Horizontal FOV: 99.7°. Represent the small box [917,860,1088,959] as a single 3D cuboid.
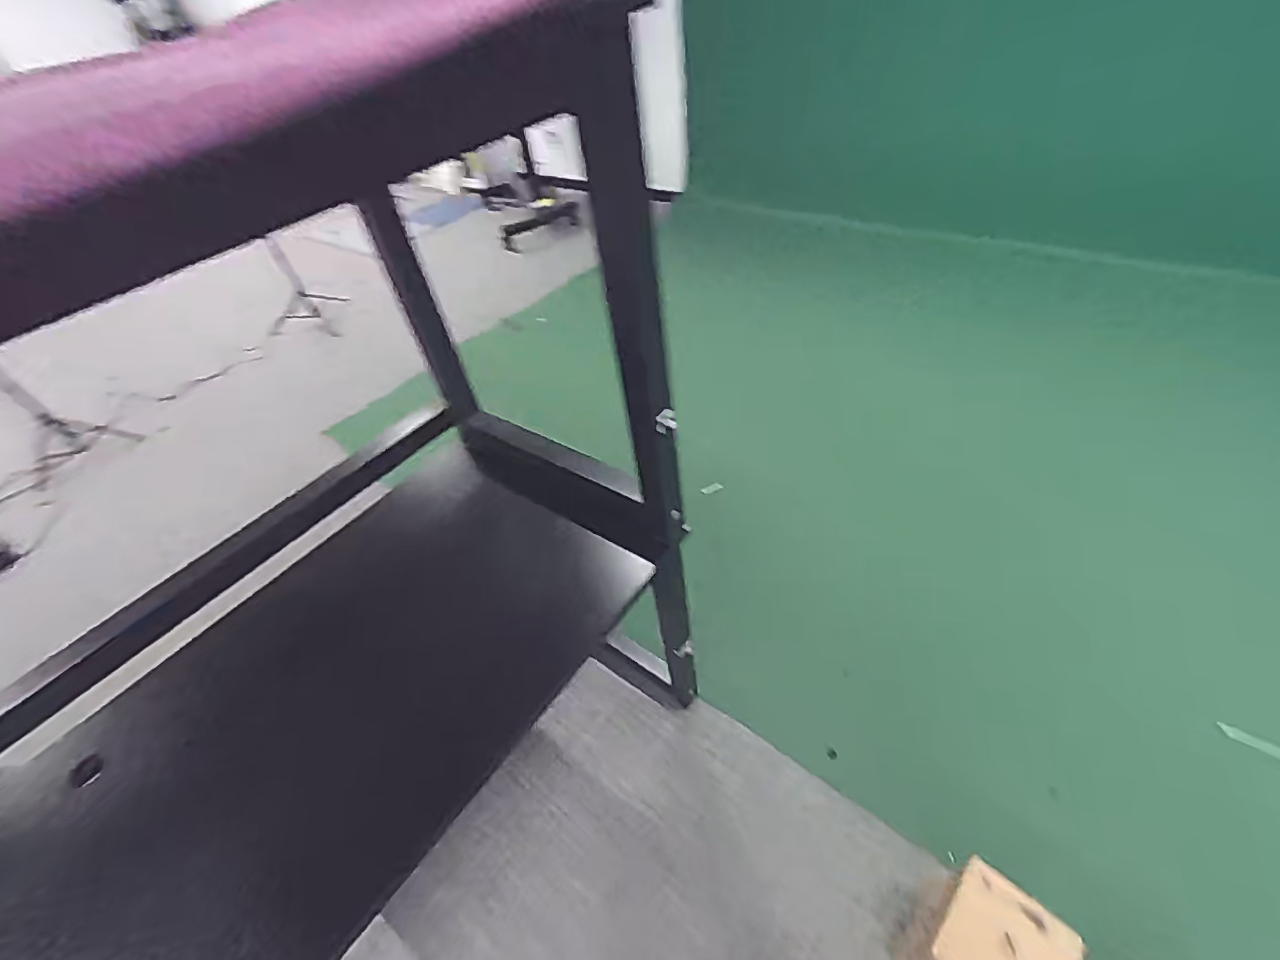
[{"bbox_3d":[0.580,0.781,0.887,0.168,0.176,0.179,31,58,34],"label":"small box"}]
